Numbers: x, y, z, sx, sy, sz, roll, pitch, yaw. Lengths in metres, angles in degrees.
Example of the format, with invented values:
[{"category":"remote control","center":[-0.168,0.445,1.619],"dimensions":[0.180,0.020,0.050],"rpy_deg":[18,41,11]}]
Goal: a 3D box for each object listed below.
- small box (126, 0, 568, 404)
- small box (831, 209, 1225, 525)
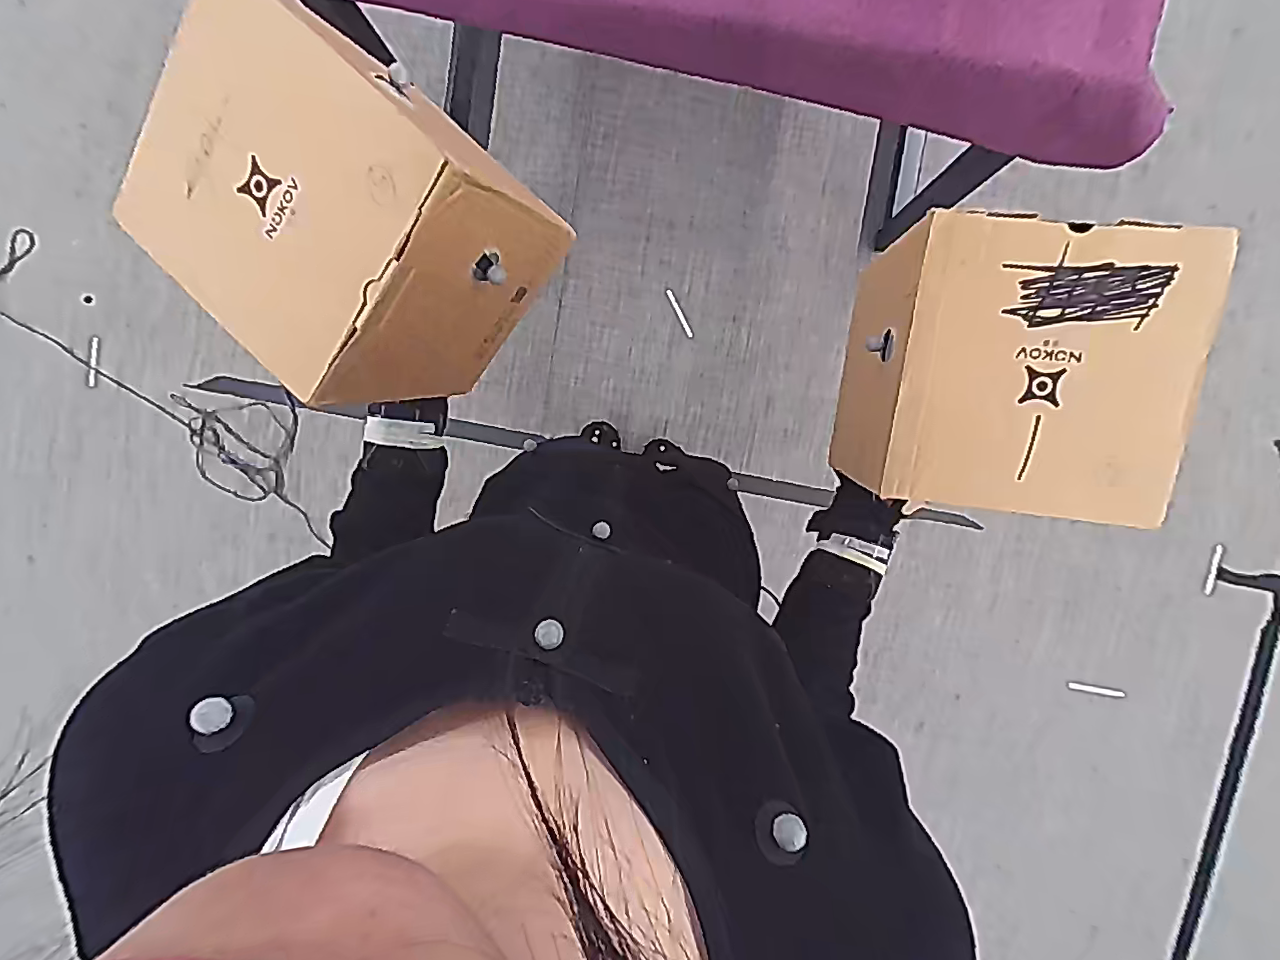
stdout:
[{"category":"small box","center":[-0.181,-0.175,0.376],"dimensions":[0.179,0.176,0.168],"rpy_deg":[43,108,4]},{"category":"small box","center":[0.254,-0.079,0.408],"dimensions":[0.168,0.176,0.179],"rpy_deg":[8,100,7]}]
